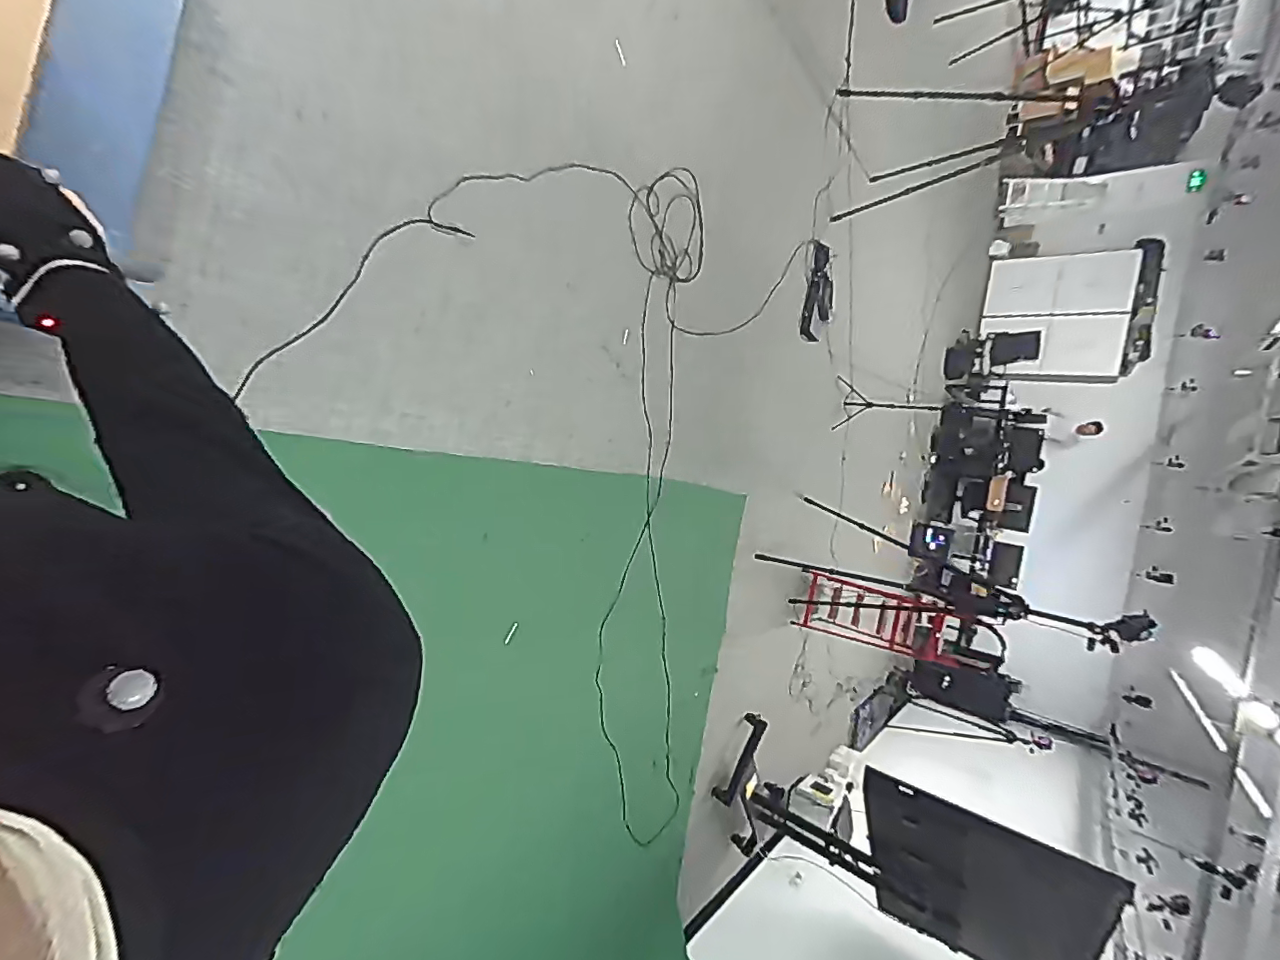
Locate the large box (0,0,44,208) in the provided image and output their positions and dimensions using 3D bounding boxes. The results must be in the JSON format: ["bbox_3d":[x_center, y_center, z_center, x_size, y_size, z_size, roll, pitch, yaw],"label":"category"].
[{"bbox_3d":[-1.044,-0.591,0.707,0.320,0.320,0.408,14,85,-52],"label":"large box"}]
